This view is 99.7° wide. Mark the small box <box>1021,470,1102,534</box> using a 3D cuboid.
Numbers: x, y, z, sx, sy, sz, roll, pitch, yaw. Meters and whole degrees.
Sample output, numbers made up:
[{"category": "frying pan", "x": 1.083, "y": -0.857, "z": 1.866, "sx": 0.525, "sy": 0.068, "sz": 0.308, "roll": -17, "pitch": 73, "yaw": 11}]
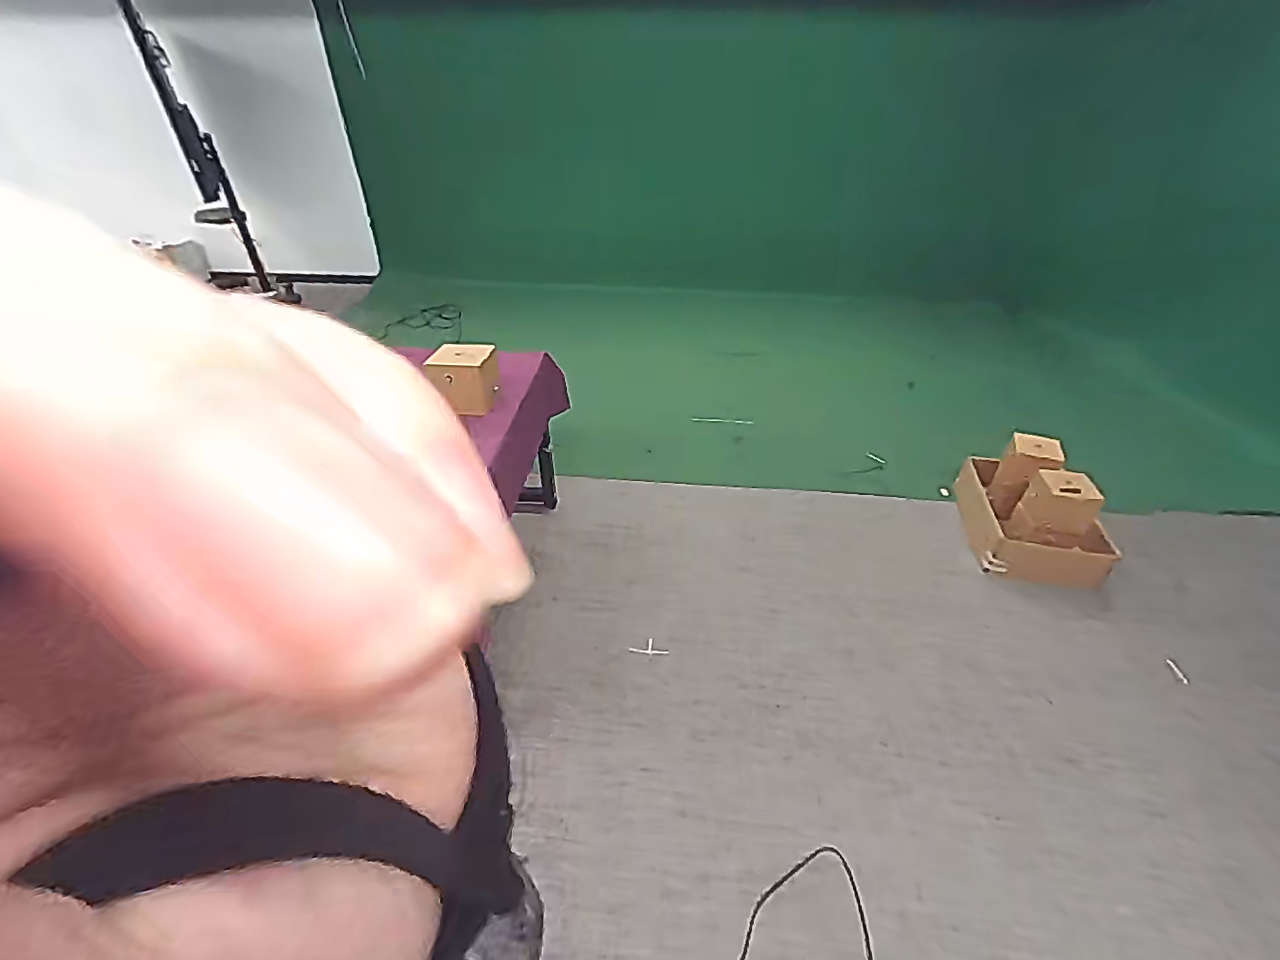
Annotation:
[{"category": "small box", "x": 1.588, "y": 0.084, "z": 2.050, "sx": 0.168, "sy": 0.176, "sz": 0.179, "roll": 7, "pitch": 35, "yaw": 12}]

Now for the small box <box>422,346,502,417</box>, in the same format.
[{"category": "small box", "x": -0.554, "y": -0.311, "z": 1.706, "sx": 0.179, "sy": 0.176, "sz": 0.168, "roll": 4, "pitch": 36, "yaw": 5}]

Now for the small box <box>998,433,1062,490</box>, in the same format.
[{"category": "small box", "x": 1.630, "y": -0.072, "z": 2.269, "sx": 0.168, "sy": 0.176, "sz": 0.179, "roll": 15, "pitch": 40, "yaw": 20}]
